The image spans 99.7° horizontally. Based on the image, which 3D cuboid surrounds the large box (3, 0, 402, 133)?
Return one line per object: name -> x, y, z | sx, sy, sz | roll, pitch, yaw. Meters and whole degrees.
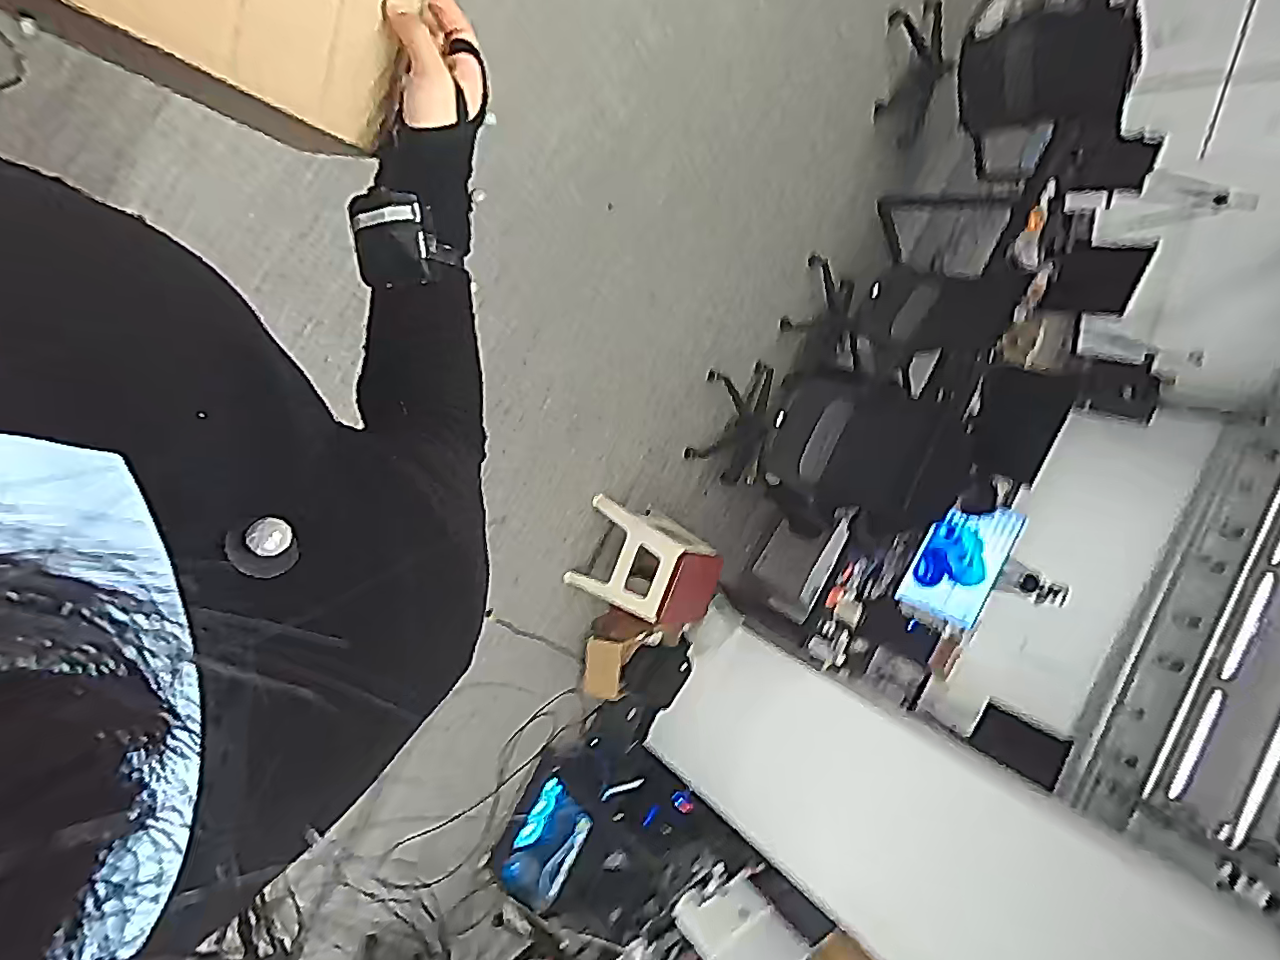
large box -> -0.386, -0.483, 0.348 | 0.408, 0.320, 0.320 | 7, 109, -44
